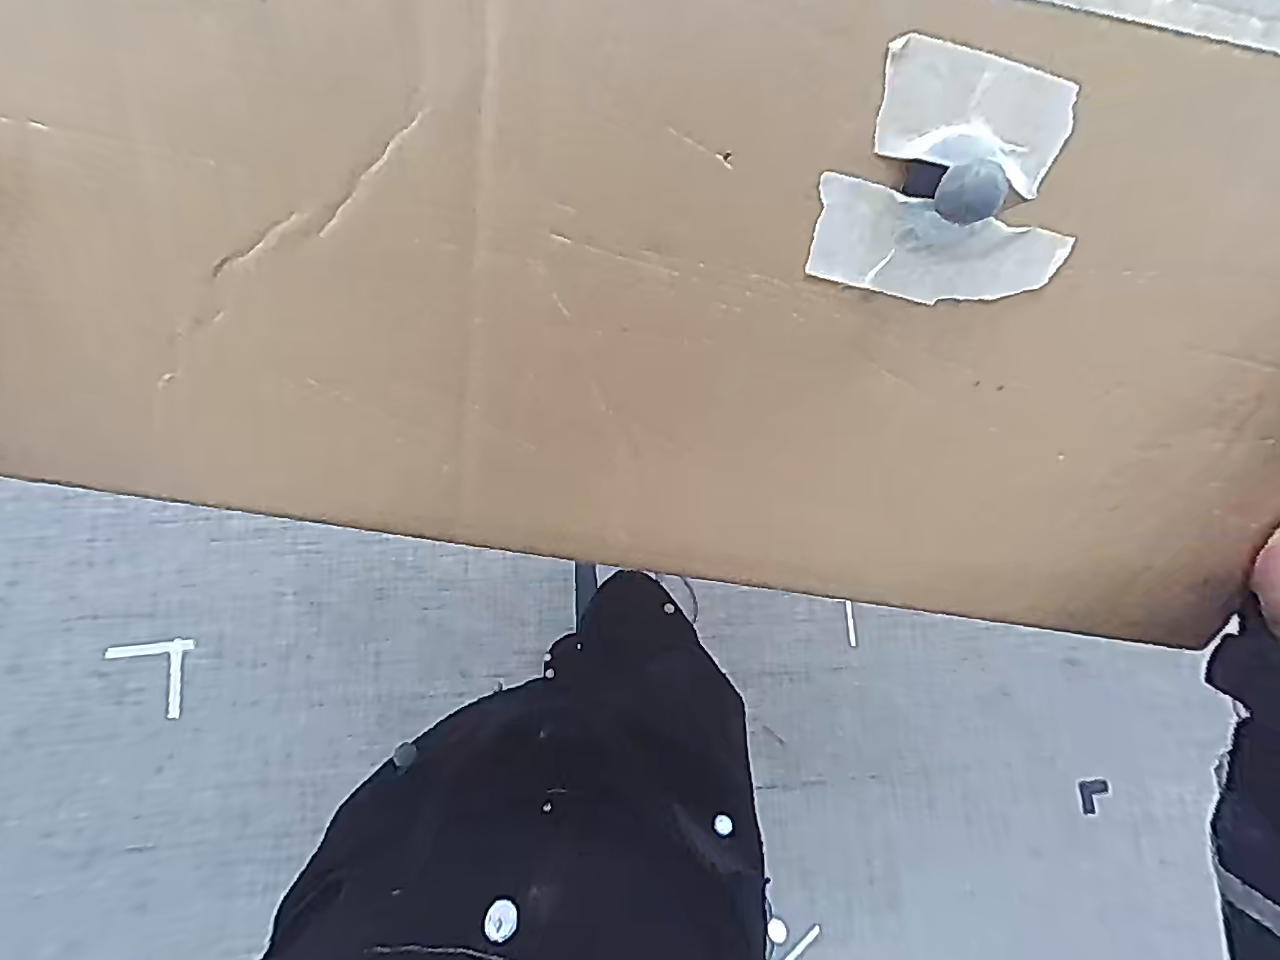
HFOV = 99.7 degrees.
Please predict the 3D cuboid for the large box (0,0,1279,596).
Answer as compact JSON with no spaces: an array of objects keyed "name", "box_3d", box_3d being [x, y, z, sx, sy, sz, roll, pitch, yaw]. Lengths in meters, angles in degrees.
[{"name":"large box","box_3d":[0.010,-0.180,0.251,0.408,0.320,0.320,8,114,-5]}]
